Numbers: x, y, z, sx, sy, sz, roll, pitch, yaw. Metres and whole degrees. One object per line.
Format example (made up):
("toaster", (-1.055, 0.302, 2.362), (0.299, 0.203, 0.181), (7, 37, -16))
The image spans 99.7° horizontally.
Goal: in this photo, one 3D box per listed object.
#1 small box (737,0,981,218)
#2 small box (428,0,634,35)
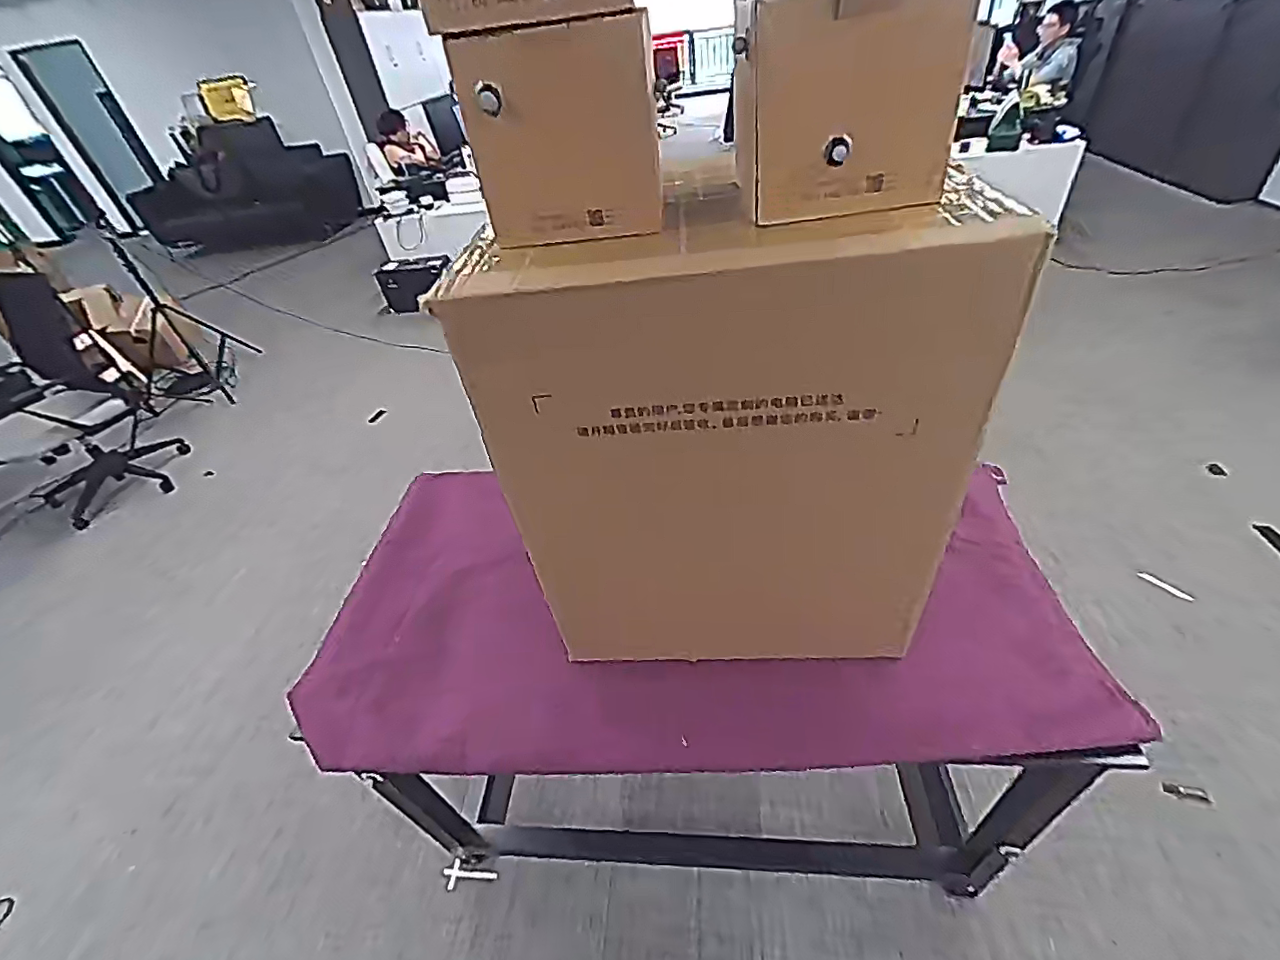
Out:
("small box", (0.181, -0.363, 0.506), (0.168, 0.176, 0.179), (-6, 41, 6))
("small box", (-0.094, -0.475, 0.432), (0.168, 0.176, 0.179), (-4, 40, 3))
